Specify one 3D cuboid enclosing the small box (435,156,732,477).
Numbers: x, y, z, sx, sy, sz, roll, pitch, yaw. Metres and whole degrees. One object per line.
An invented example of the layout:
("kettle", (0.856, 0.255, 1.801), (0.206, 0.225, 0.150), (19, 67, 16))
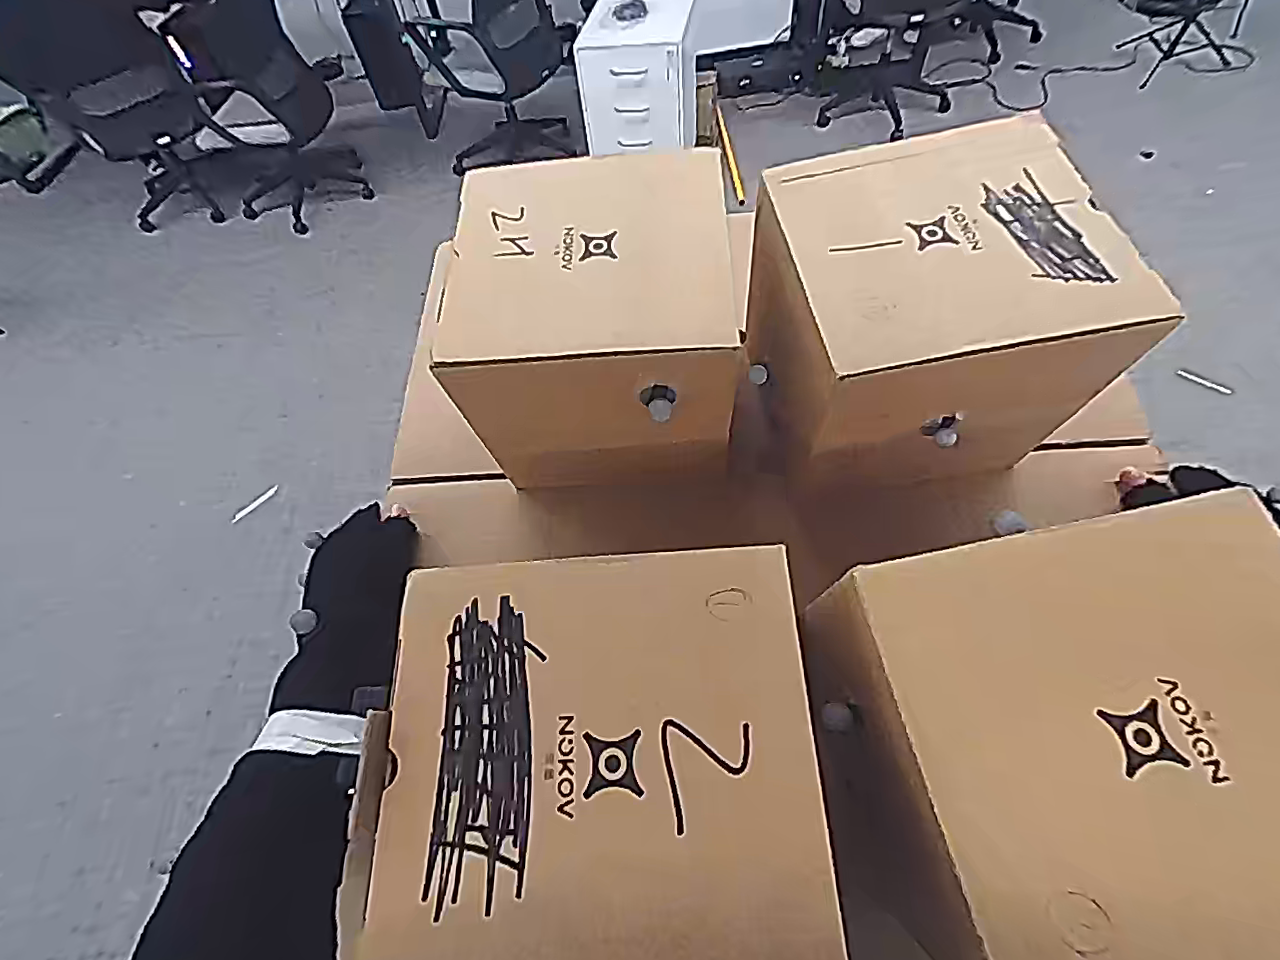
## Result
("small box", (-0.026, -0.110, 0.415), (0.179, 0.176, 0.168), (-2, 64, 6))
